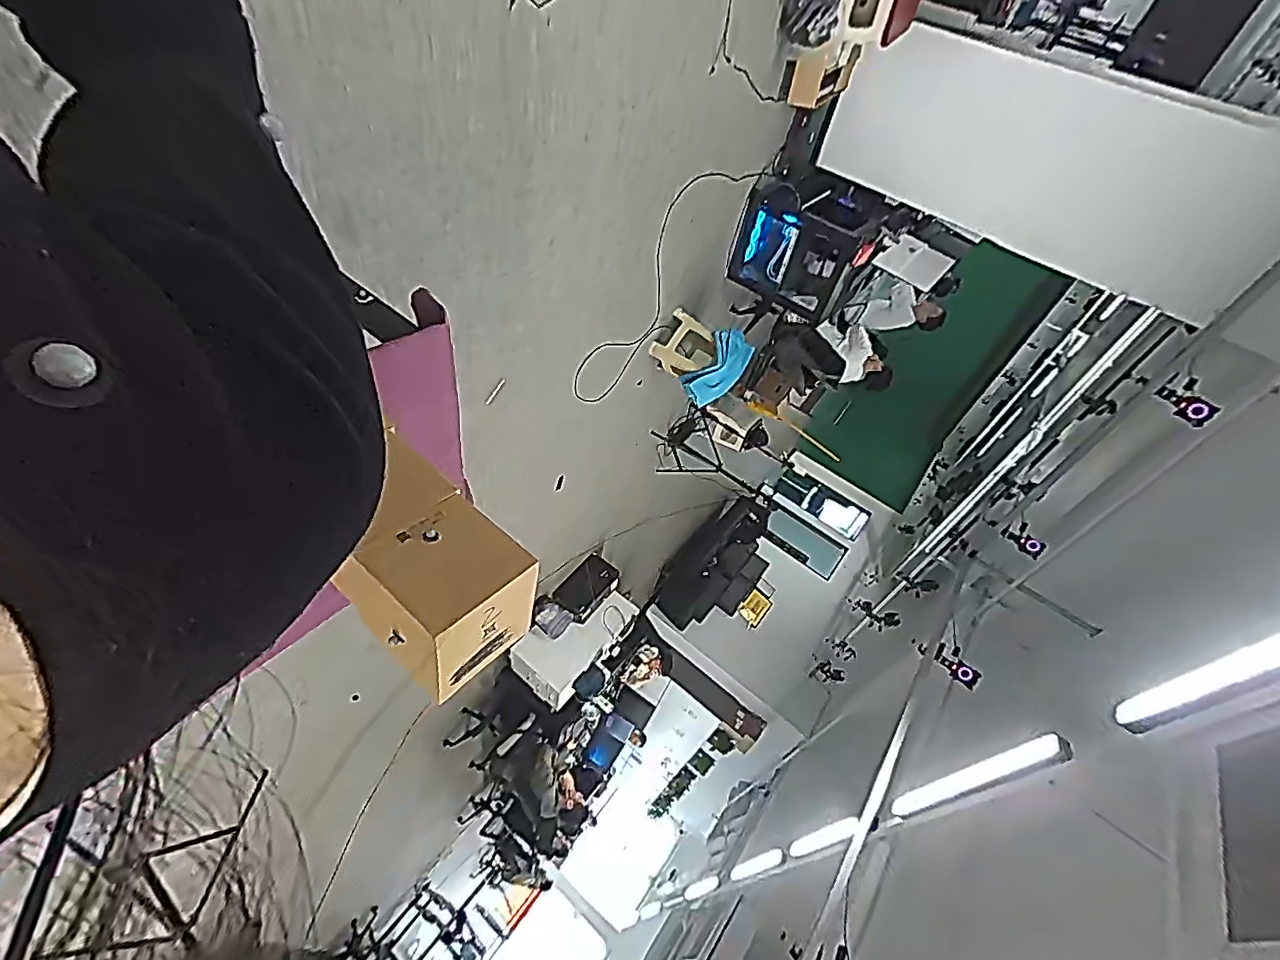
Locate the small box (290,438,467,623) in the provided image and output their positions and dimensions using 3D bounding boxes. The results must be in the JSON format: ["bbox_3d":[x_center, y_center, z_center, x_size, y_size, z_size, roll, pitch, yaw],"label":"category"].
[{"bbox_3d":[-0.380,0.070,0.806,0.168,0.176,0.179,-38,154,-41],"label":"small box"}]
